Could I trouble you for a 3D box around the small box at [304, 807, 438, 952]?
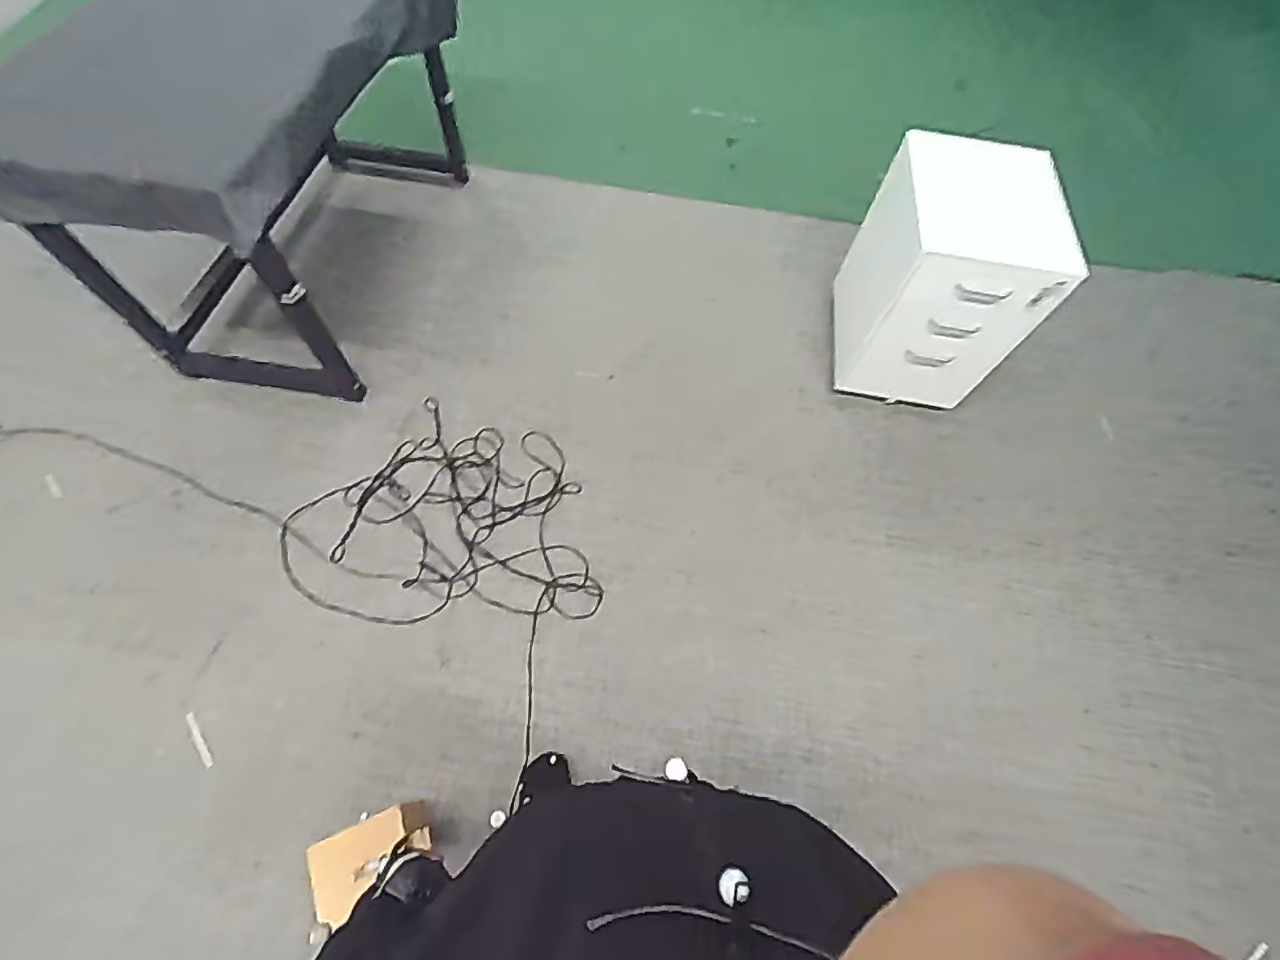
[{"bbox_3d":[-0.525,0.776,1.072,0.179,0.176,0.168,-21,65,-16],"label":"small box"}]
